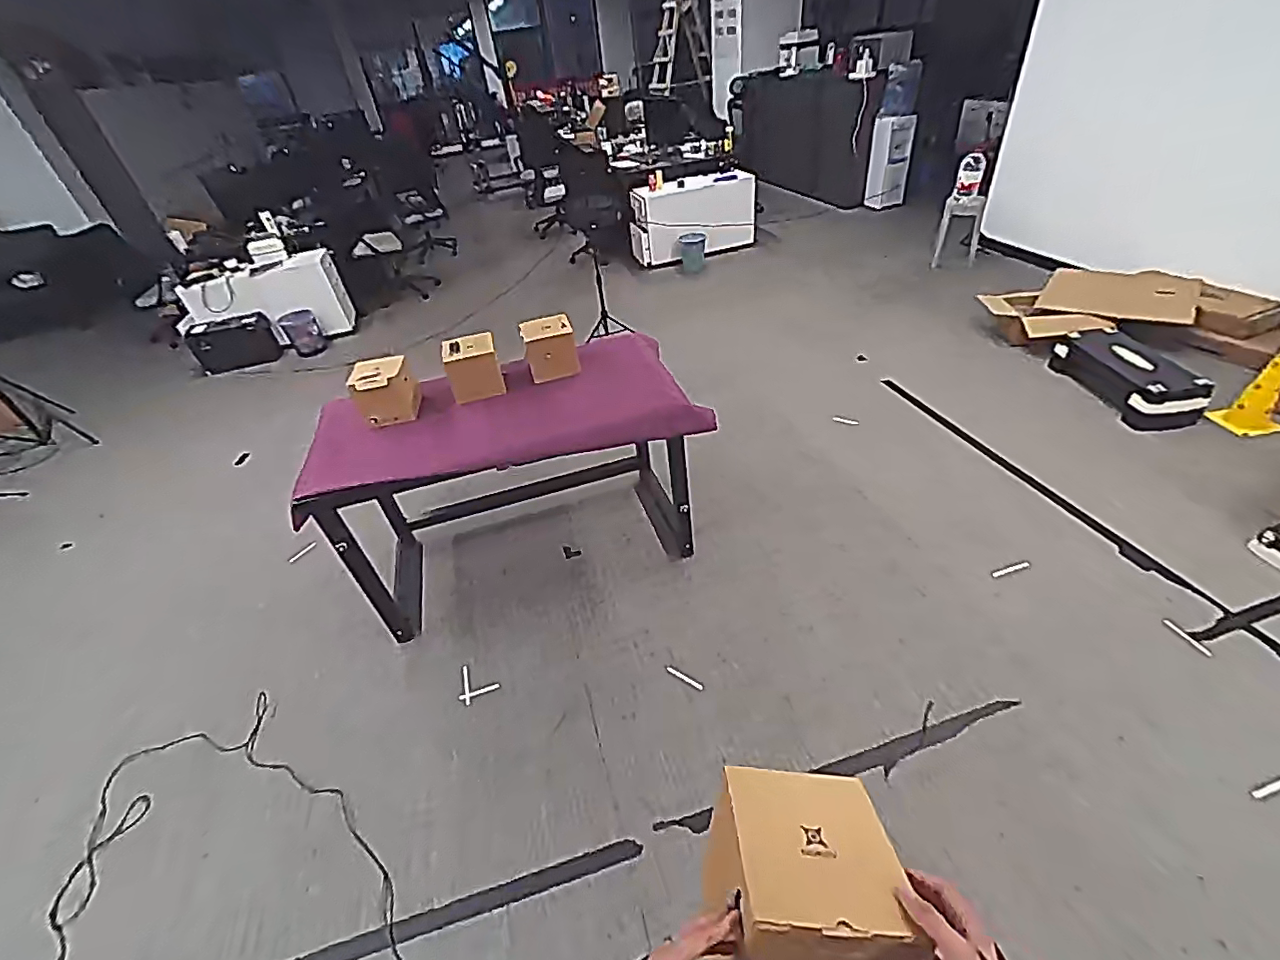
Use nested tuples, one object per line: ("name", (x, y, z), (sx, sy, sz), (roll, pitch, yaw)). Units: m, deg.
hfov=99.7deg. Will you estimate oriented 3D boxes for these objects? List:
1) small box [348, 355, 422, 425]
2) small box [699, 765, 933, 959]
("small box", (-0.862, -0.302, 1.850), (0.168, 0.176, 0.179), (-11, 39, -4))
("small box", (0.162, 0.439, 0.566), (0.168, 0.176, 0.179), (7, 16, -3))
